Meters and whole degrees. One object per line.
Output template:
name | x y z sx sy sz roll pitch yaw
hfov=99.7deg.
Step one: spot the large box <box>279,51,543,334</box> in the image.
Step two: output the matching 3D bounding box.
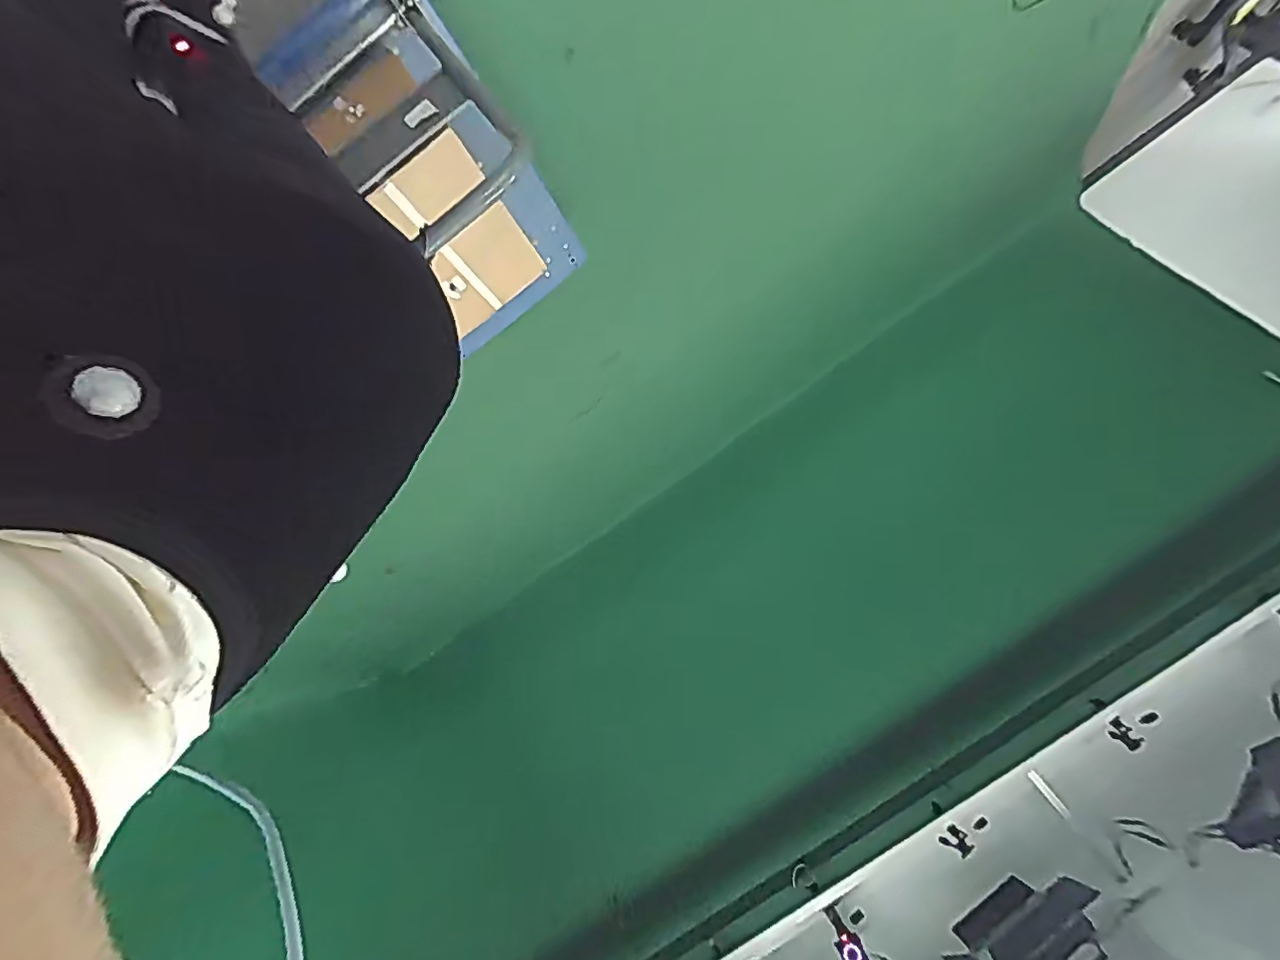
large box | -0.497 -0.621 1.227 0.320 0.320 0.408 -36 157 4
